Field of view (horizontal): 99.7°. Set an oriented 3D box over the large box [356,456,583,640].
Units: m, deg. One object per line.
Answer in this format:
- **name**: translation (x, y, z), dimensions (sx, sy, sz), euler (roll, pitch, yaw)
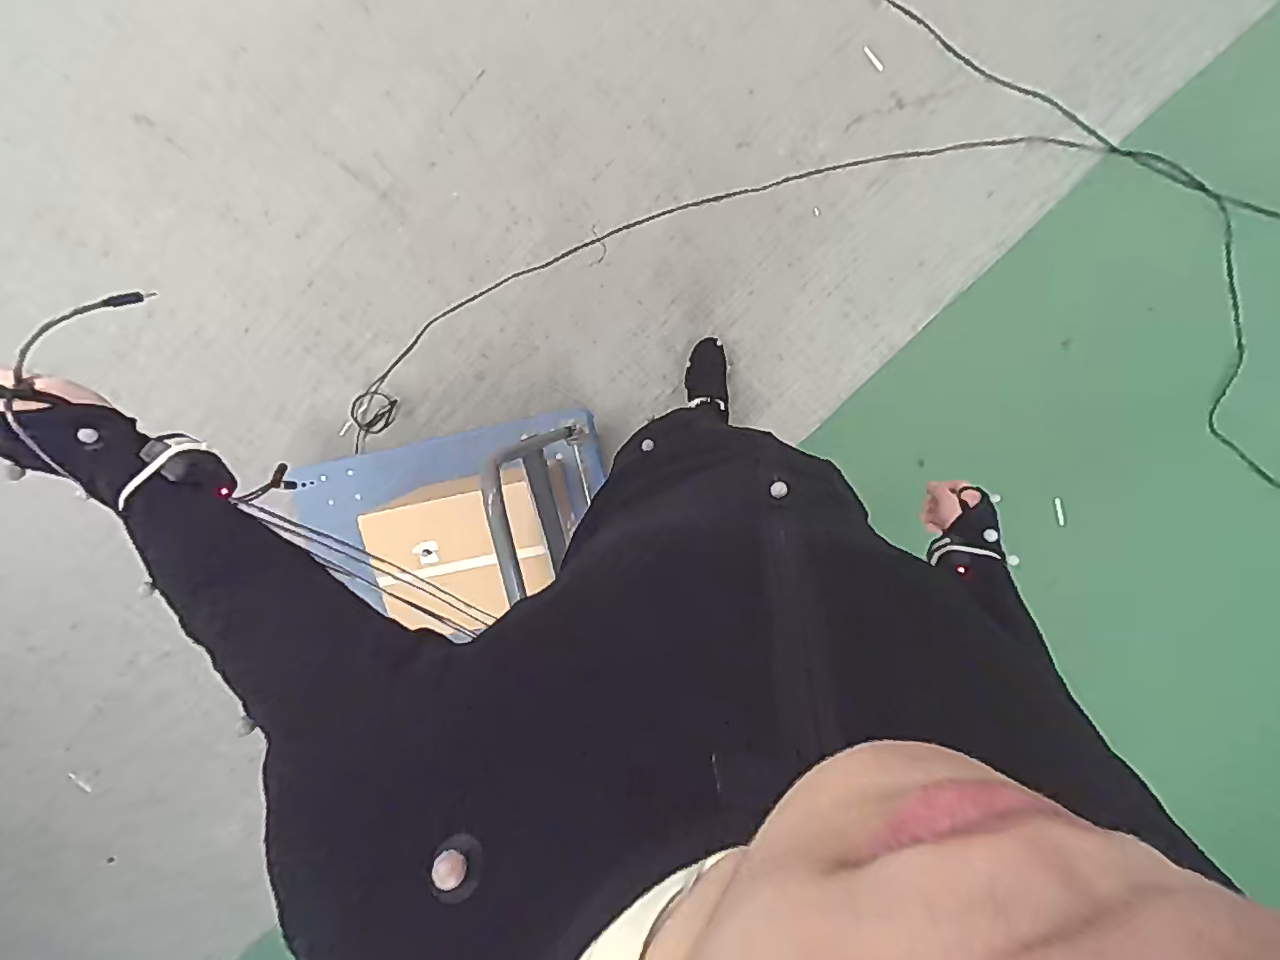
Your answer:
- **large box**: translation (-0.389, 0.151, 1.338), dimensions (0.408, 0.320, 0.320), euler (-12, 100, 6)
